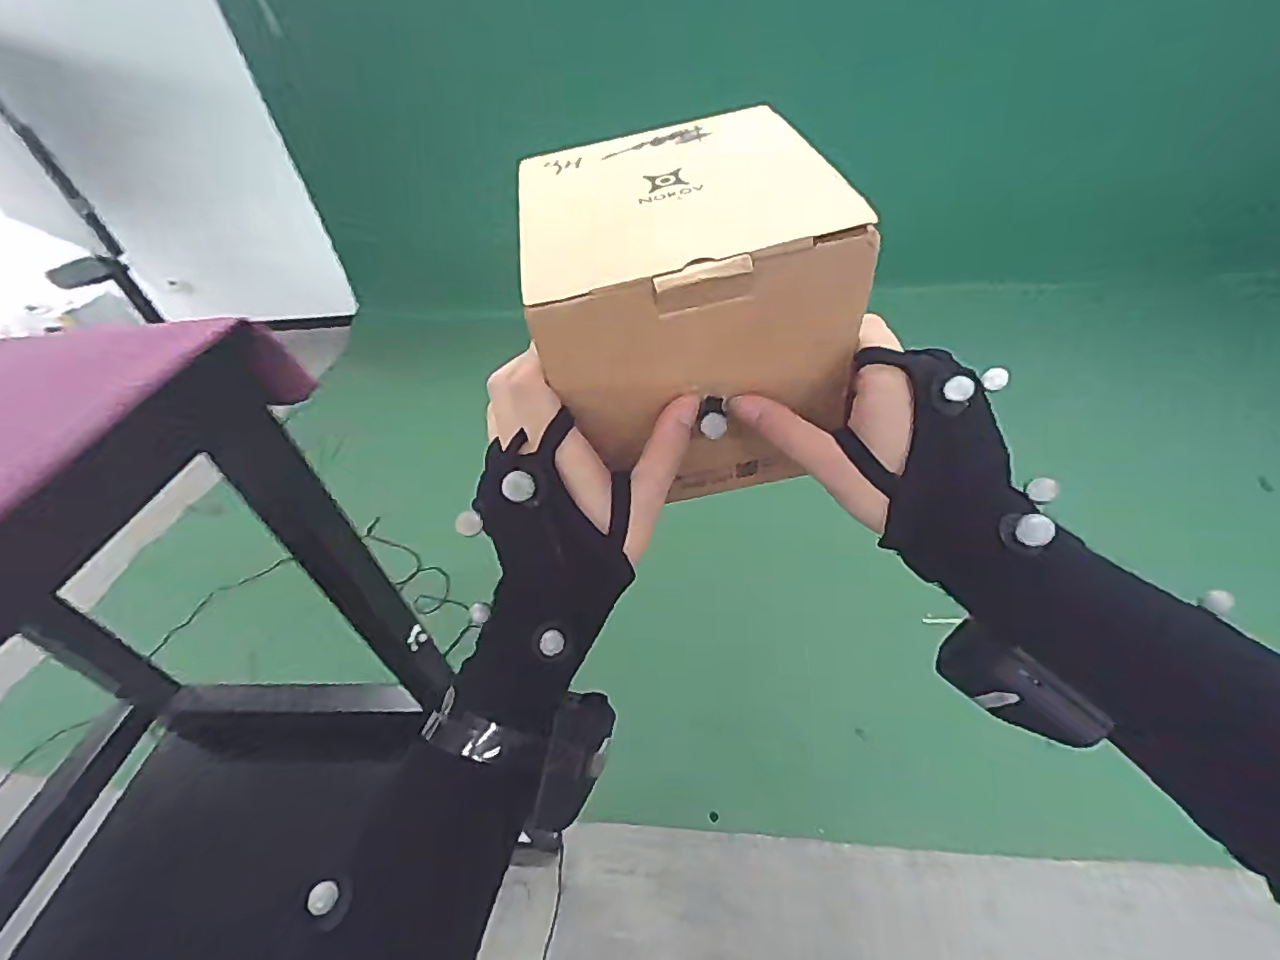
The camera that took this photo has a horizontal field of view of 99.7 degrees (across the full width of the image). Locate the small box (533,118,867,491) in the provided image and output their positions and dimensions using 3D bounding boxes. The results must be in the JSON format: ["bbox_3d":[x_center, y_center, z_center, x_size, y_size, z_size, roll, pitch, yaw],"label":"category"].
[{"bbox_3d":[0.031,-0.109,0.371,0.168,0.176,0.179,-12,50,1],"label":"small box"}]
